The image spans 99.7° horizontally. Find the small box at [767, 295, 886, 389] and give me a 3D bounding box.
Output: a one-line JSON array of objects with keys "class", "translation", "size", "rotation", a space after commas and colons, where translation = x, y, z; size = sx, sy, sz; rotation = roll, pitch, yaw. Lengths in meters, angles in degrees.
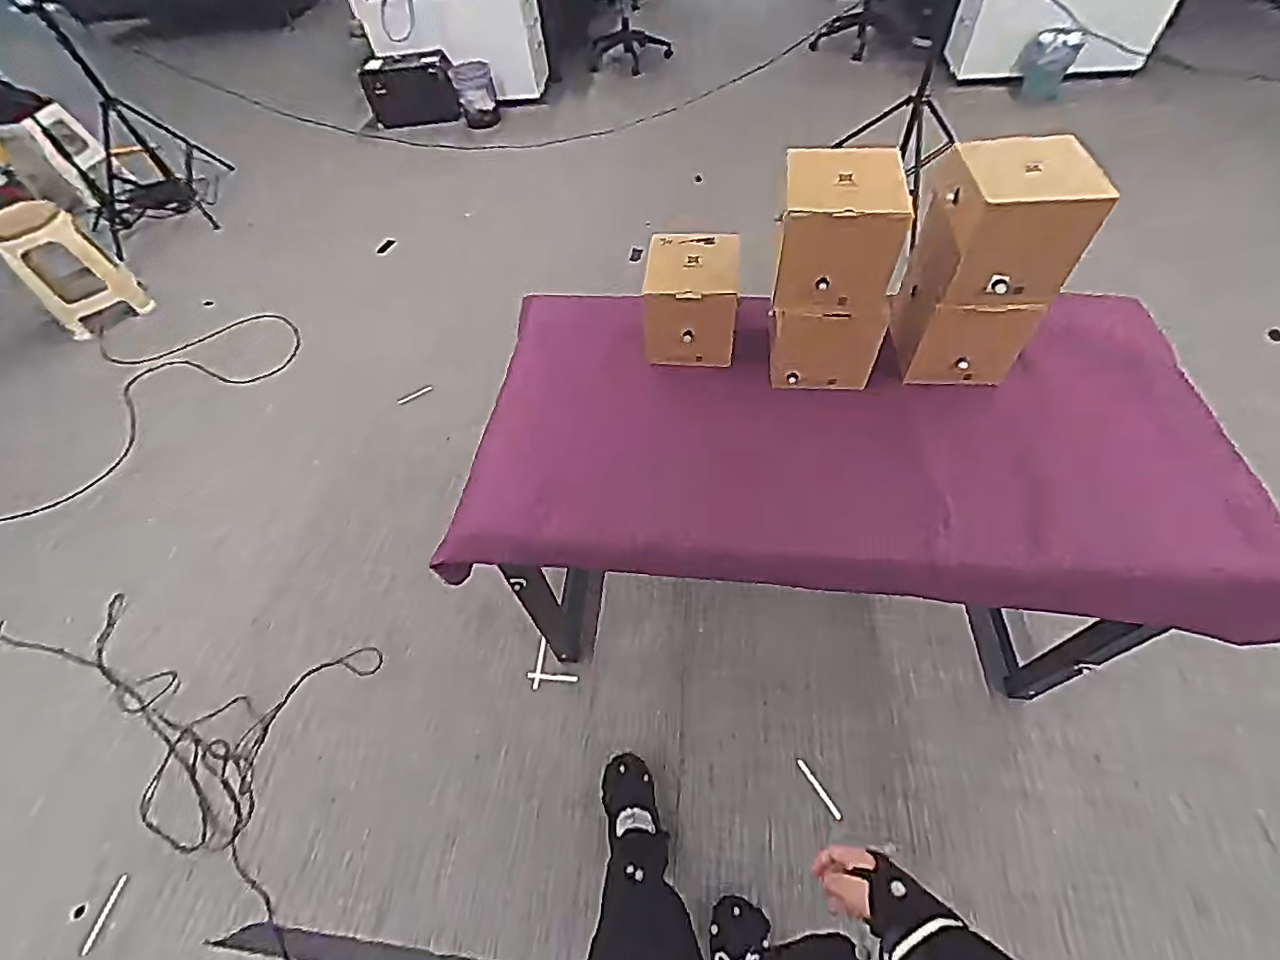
[{"class": "small box", "translation": [0.322, -0.280, 0.967], "size": [0.168, 0.176, 0.179], "rotation": [2, 55, 7]}]

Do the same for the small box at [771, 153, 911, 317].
[{"class": "small box", "translation": [0.297, -0.378, 0.838], "size": [0.168, 0.176, 0.179], "rotation": [4, 57, 8]}]

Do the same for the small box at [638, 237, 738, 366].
[{"class": "small box", "translation": [0.095, -0.333, 1.023], "size": [0.168, 0.176, 0.179], "rotation": [4, 57, 8]}]

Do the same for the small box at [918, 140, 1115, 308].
[{"class": "small box", "translation": [0.547, -0.383, 0.820], "size": [0.168, 0.176, 0.179], "rotation": [0, 56, 6]}]

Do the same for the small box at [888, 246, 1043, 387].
[{"class": "small box", "translation": [0.553, -0.286, 0.951], "size": [0.168, 0.176, 0.179], "rotation": [2, 56, 7]}]
